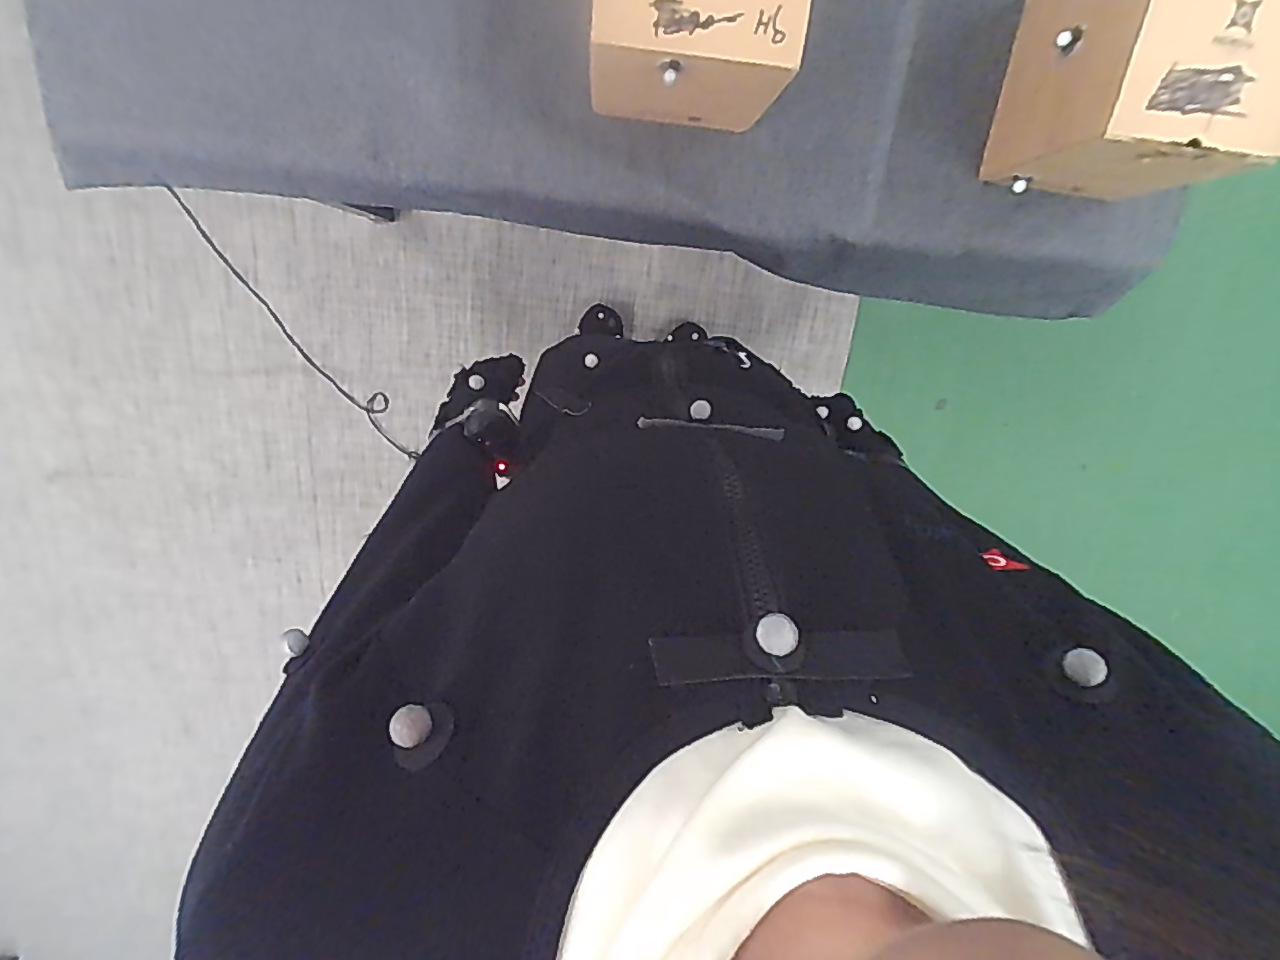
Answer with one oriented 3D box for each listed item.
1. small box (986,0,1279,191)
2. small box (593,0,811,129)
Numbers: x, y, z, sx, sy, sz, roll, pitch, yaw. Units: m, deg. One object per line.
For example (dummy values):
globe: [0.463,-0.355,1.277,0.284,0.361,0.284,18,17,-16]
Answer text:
small box: [0.470,-0.389,0.508,0.168,0.176,0.179,5,107,-5]
small box: [0.047,-0.437,0.466,0.168,0.176,0.179,4,108,-5]
